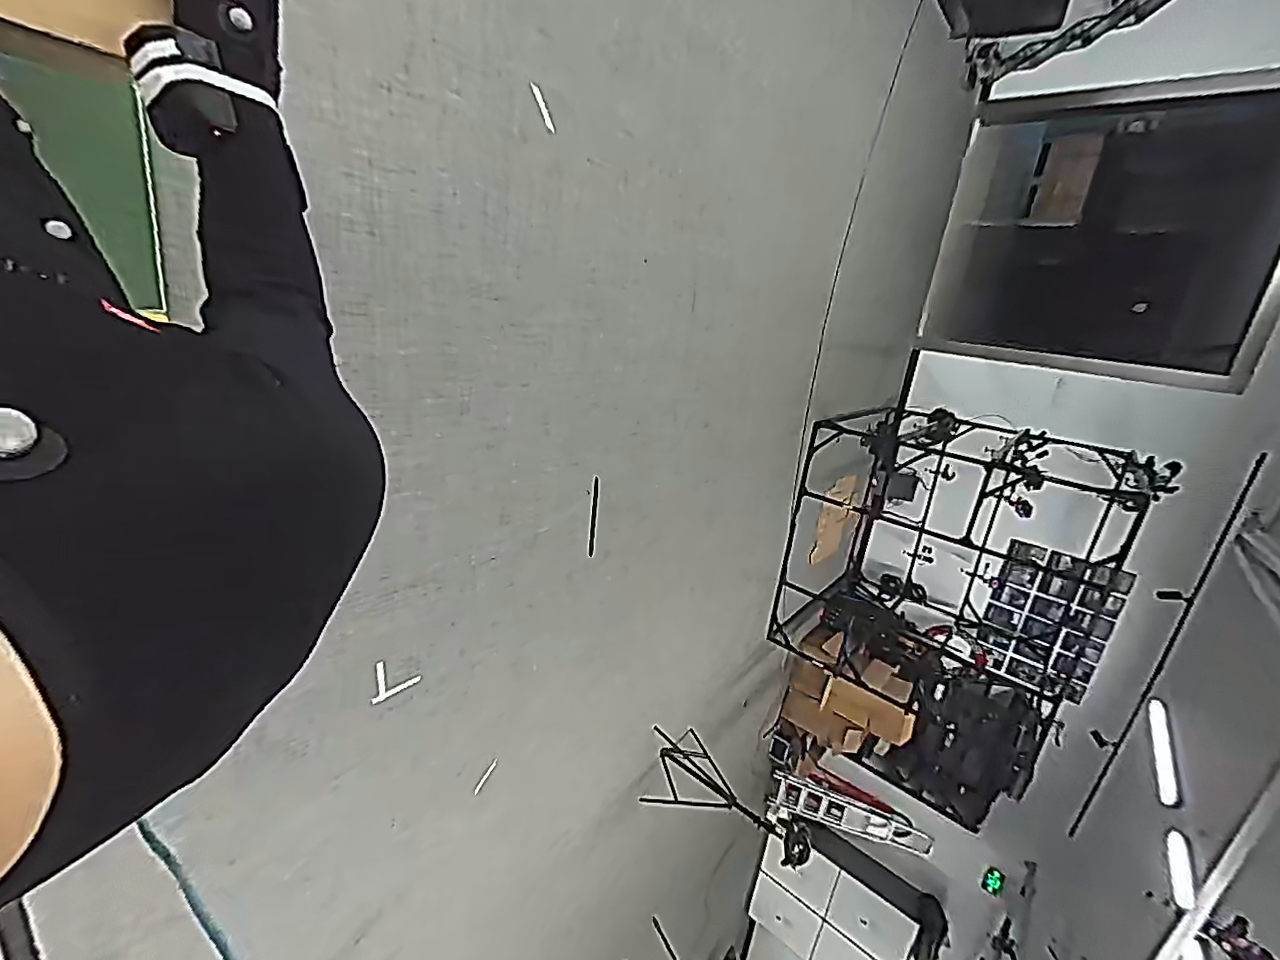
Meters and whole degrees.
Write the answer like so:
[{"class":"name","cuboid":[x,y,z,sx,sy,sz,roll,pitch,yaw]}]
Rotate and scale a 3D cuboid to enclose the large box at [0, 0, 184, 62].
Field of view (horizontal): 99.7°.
[{"class":"large box","cuboid":[-0.556,-0.484,0.285,0.408,0.320,0.320,-15,126,-50]}]
